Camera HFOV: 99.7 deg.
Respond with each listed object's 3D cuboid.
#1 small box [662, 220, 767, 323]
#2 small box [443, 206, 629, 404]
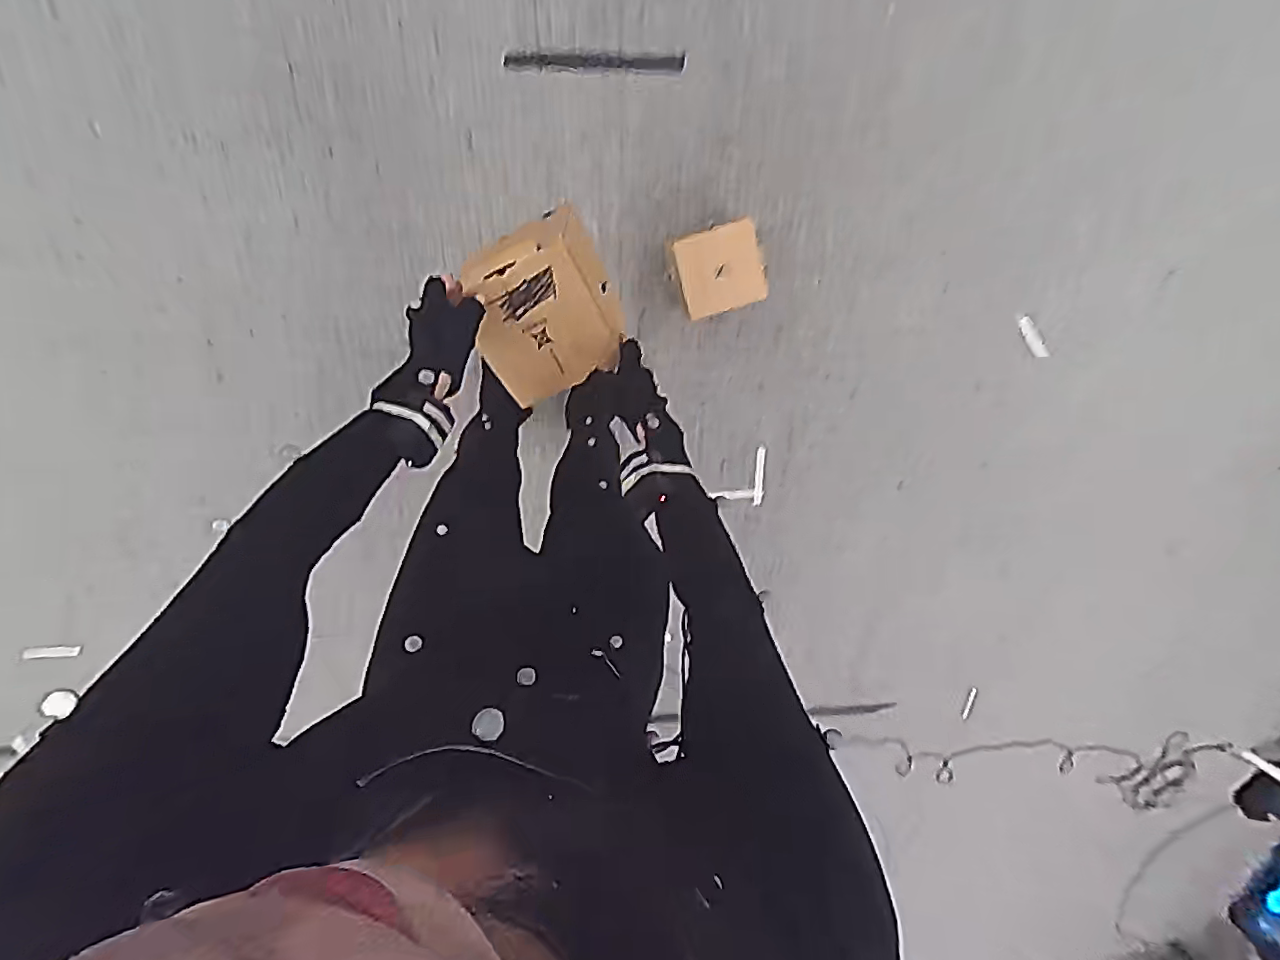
[{"bbox_3d":[0.160,-0.464,1.197,0.179,0.176,0.168,-18,114,3],"label":"small box"},{"bbox_3d":[-0.126,-0.239,0.720,0.168,0.176,0.179,-21,128,14],"label":"small box"}]
